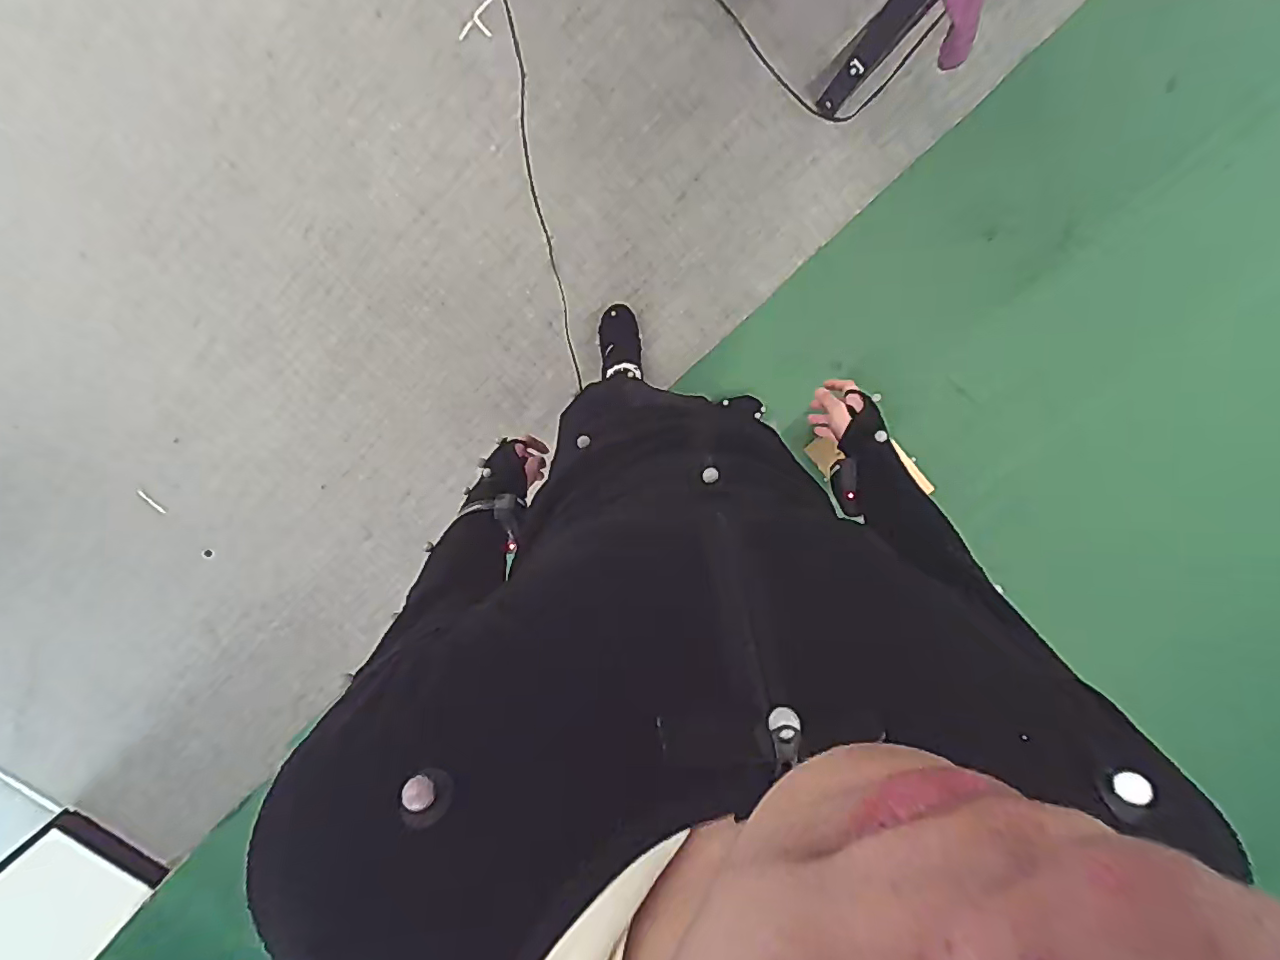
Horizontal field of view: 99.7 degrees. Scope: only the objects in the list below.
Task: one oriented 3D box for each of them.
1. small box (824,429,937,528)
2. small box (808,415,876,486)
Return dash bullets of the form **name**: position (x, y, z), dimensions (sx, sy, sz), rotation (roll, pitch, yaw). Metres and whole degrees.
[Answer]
- **small box**: position (0.598, -0.014, 1.372), dimensions (0.168, 0.176, 0.179), rotation (-42, 102, 13)
- **small box**: position (0.606, -0.063, 1.526), dimensions (0.168, 0.176, 0.179), rotation (-42, 101, 13)
